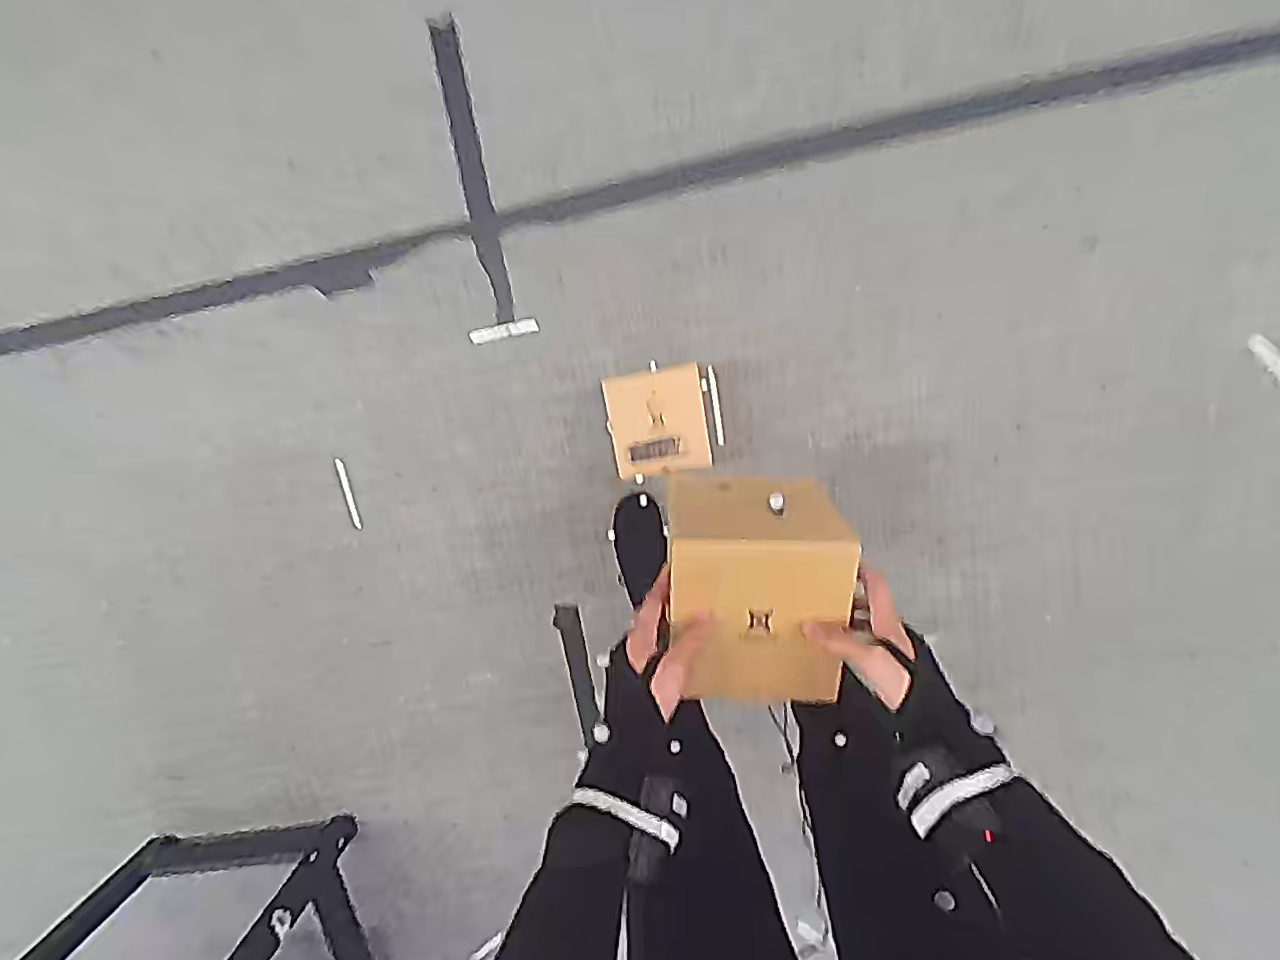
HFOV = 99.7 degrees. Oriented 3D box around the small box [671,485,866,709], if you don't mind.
[{"bbox_3d":[0.117,0.111,0.567,0.168,0.176,0.179,0,111,3],"label":"small box"}]
